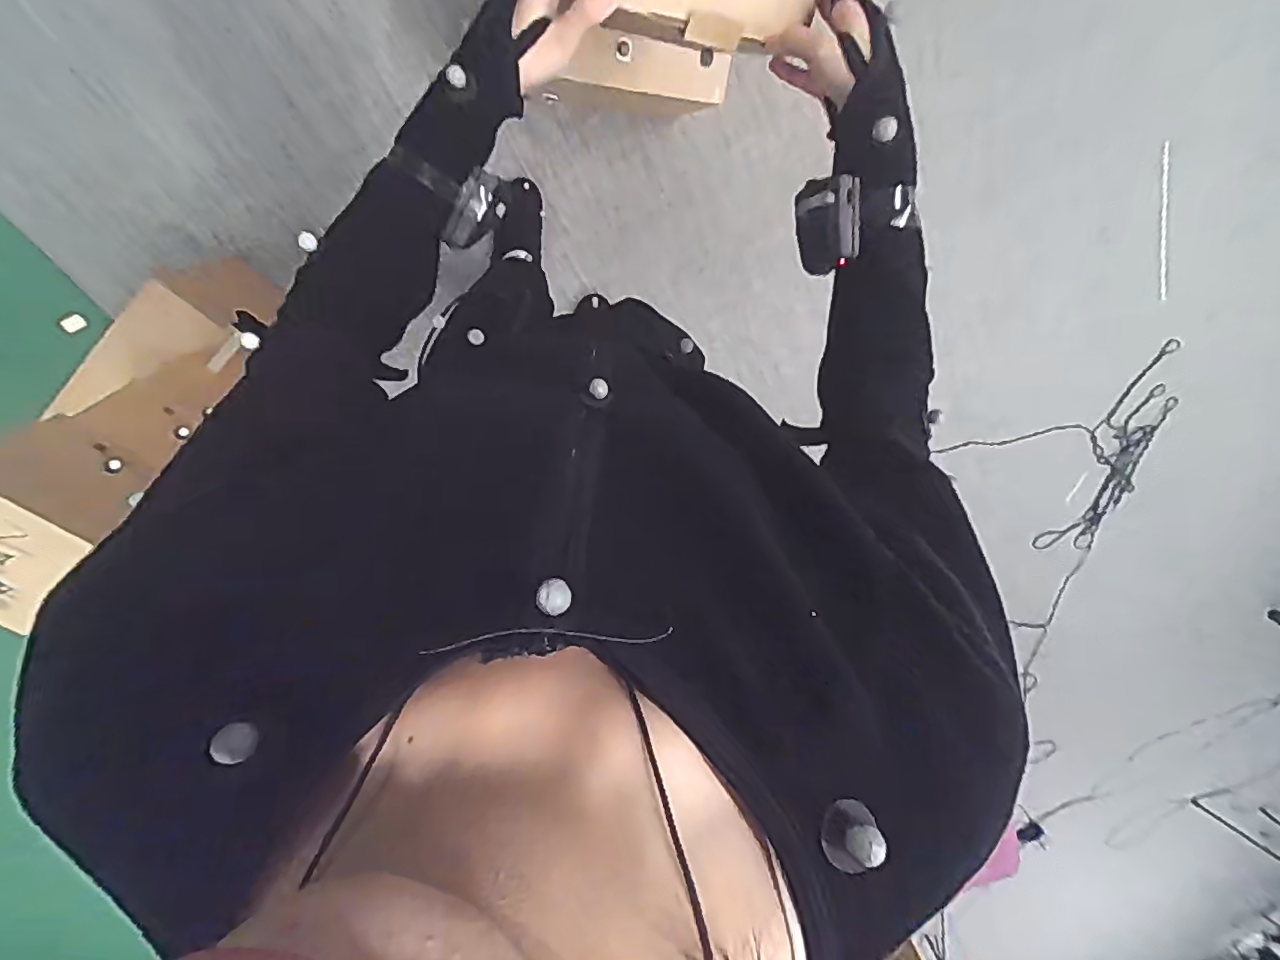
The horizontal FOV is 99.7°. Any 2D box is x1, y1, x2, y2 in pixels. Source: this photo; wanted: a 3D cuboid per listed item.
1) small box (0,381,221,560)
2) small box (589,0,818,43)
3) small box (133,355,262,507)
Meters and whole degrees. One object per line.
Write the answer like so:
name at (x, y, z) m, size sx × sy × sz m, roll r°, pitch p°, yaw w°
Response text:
small box at (-0.798, -0.019, 0.823) m, size 0.179 × 0.176 × 0.168 m, roll -35°, pitch 121°, yaw 8°
small box at (0.040, -0.446, 0.391) m, size 0.168 × 0.176 × 0.179 m, roll -5°, pitch 128°, yaw -24°
small box at (-0.829, -0.093, 0.965) m, size 0.168 × 0.176 × 0.179 m, roll -36°, pitch 121°, yaw 9°
